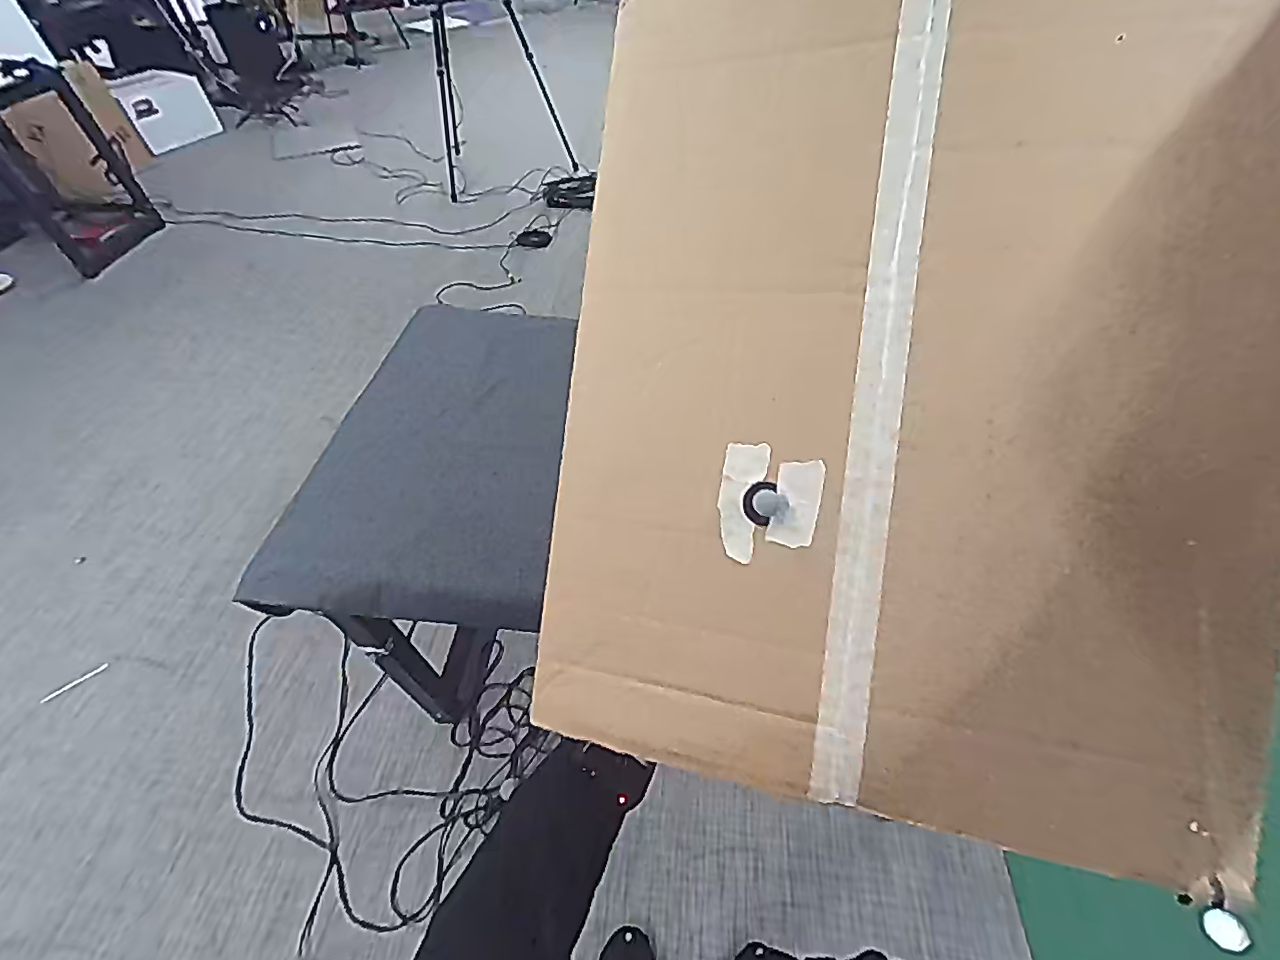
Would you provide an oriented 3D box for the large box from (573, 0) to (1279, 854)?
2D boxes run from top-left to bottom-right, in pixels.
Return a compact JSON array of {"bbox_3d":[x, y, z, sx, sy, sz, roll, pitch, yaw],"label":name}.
[{"bbox_3d":[0.161,-0.044,0.416,0.320,0.320,0.408,6,91,15],"label":"large box"}]
